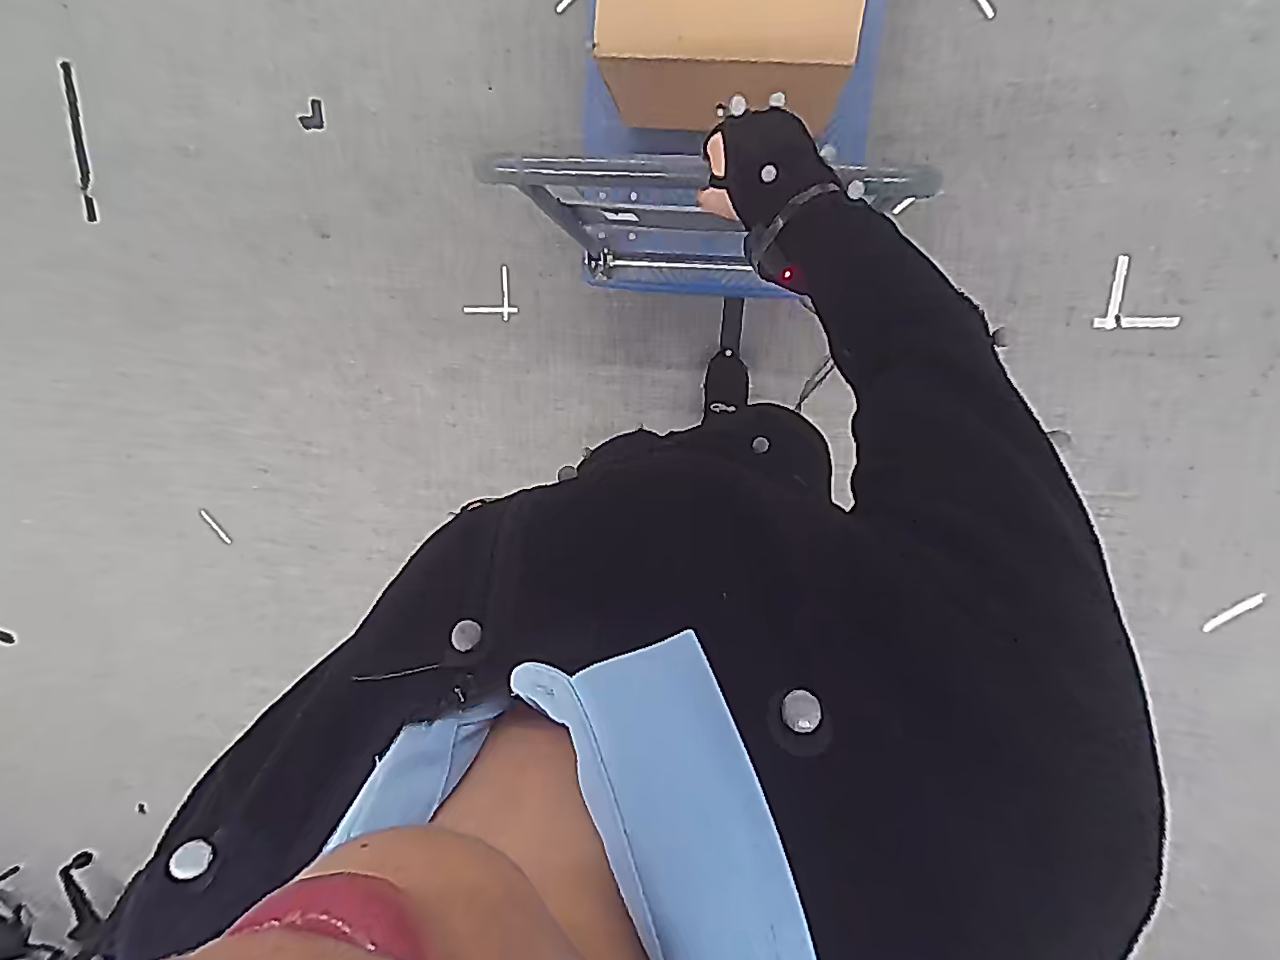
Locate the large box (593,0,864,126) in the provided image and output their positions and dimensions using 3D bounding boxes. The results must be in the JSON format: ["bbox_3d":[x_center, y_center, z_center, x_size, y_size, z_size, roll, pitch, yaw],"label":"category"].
[{"bbox_3d":[0.158,-0.831,0.920,0.408,0.320,0.320,7,105,8],"label":"large box"}]
